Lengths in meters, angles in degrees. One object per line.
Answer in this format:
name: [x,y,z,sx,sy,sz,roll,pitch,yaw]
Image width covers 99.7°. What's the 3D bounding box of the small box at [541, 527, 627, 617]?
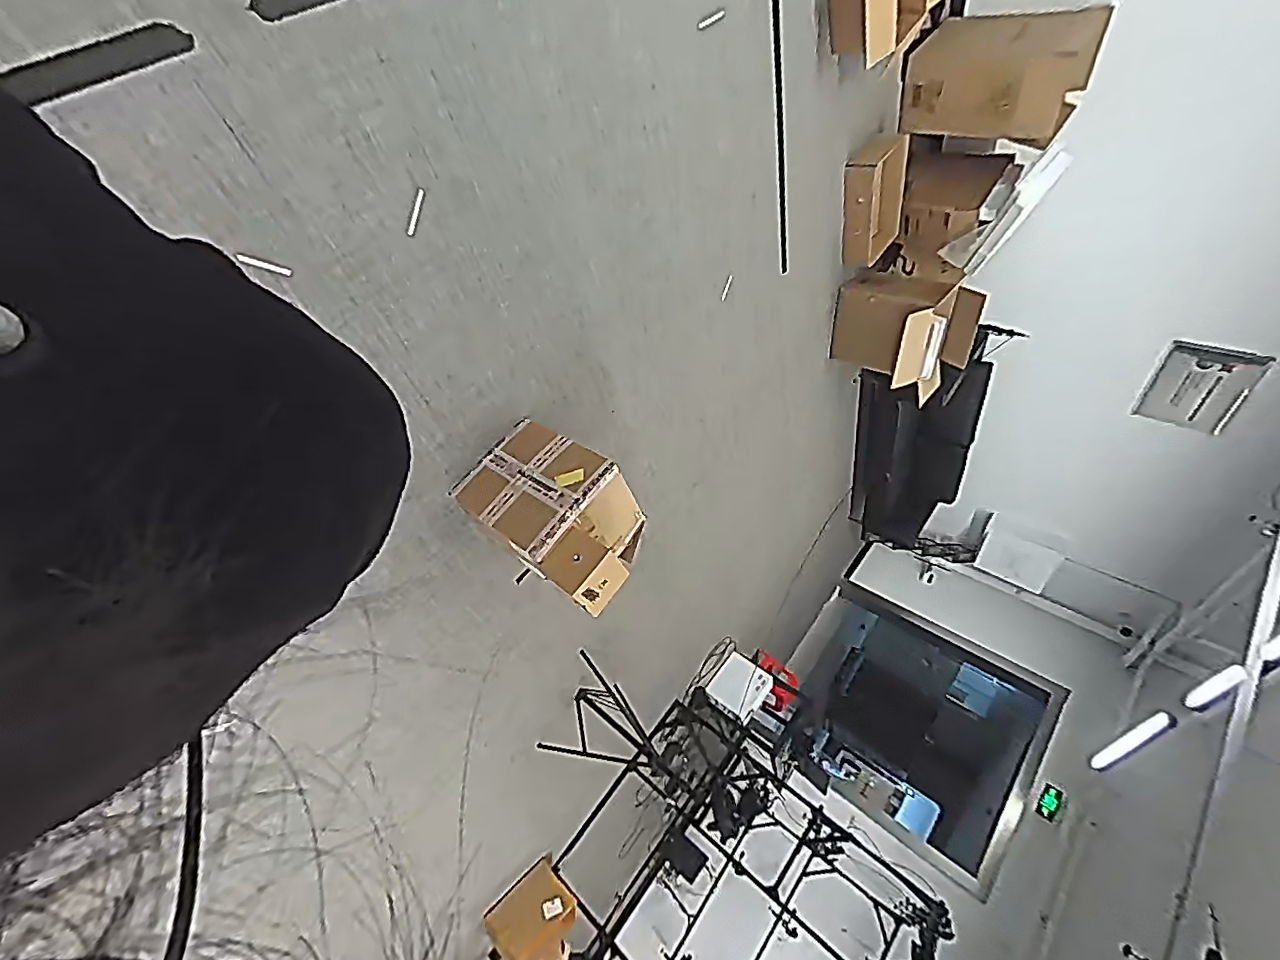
small box: [-0.177,0.278,1.650,0.179,0.176,0.168,-51,141,-17]
